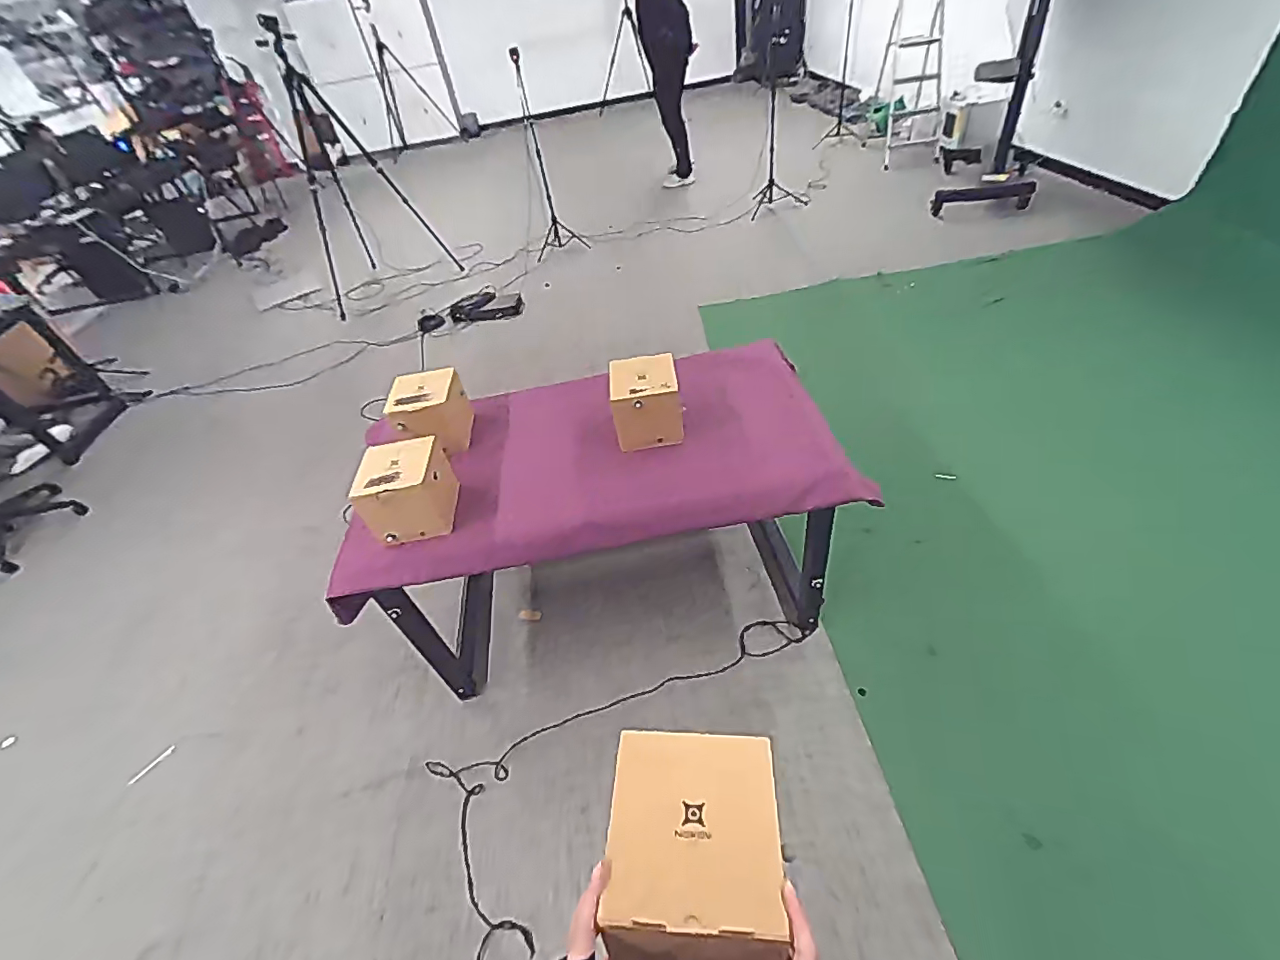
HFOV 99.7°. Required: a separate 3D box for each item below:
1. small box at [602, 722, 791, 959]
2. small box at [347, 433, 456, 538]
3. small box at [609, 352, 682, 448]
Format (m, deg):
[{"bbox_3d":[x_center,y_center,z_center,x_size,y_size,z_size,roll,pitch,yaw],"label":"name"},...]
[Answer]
[{"bbox_3d":[0.058,0.388,0.575,0.168,0.176,0.179,0,37,6],"label":"small box"},{"bbox_3d":[-0.546,0.020,1.268,0.168,0.176,0.179,-10,43,0],"label":"small box"},{"bbox_3d":[0.014,-0.206,1.393,0.168,0.176,0.179,-8,43,3],"label":"small box"}]
